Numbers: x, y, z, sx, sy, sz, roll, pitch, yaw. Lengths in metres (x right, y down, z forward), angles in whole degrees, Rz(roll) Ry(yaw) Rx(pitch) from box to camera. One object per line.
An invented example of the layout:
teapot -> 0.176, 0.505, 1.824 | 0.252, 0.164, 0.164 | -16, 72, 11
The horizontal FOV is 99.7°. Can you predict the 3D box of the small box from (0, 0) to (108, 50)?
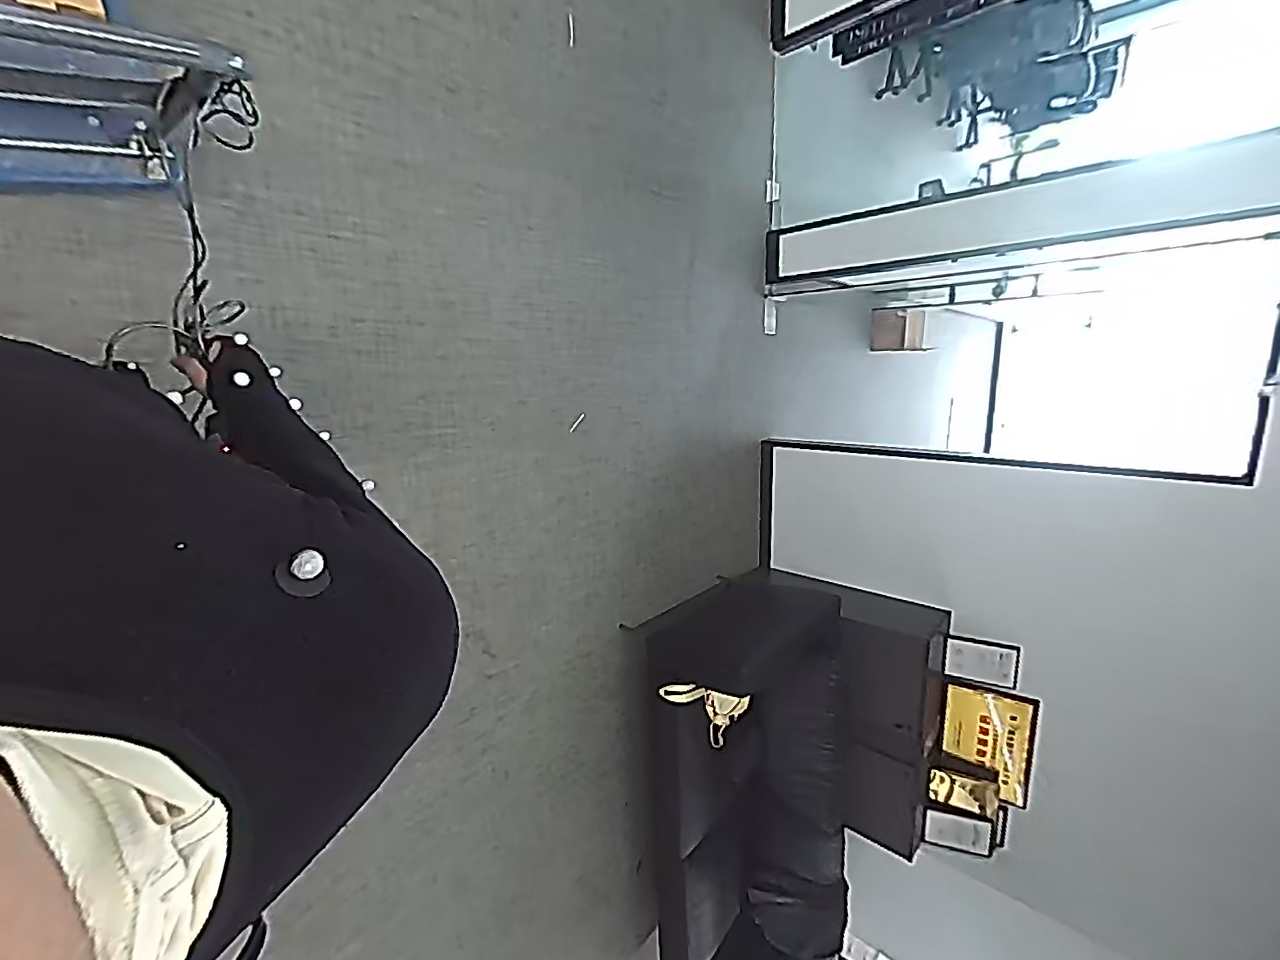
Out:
small box -> -0.996, -0.837, 0.860 | 0.168, 0.176, 0.179 | -24, 115, -43
